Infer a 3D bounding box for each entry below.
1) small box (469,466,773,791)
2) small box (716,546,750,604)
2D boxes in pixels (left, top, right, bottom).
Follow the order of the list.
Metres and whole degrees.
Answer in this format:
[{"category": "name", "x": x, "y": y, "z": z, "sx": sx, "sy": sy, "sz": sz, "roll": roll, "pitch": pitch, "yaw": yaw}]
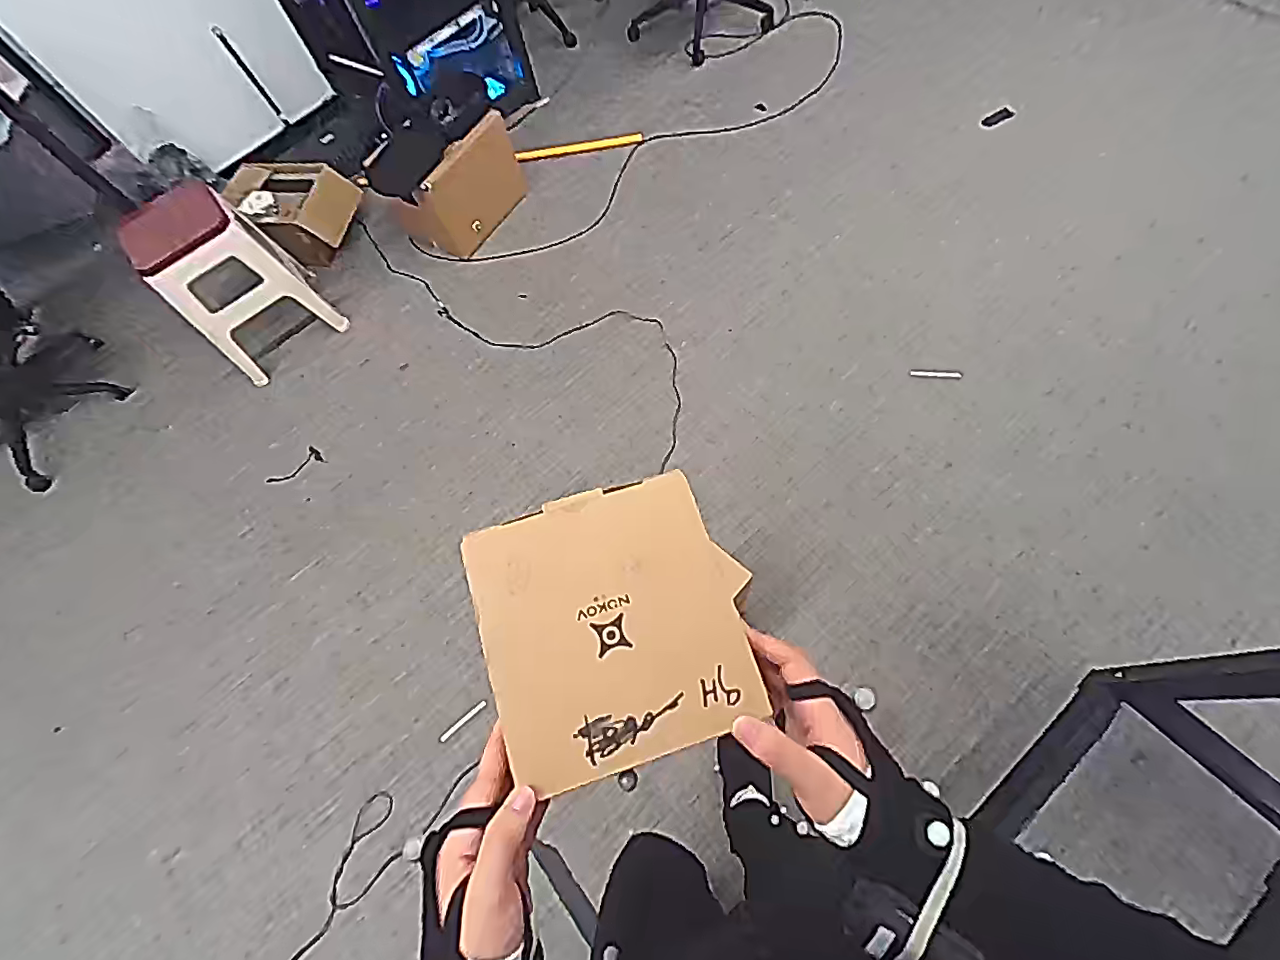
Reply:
[{"category": "small box", "x": -0.018, "y": 0.115, "z": 0.432, "sx": 0.168, "sy": 0.176, "sz": 0.179, "roll": -17, "pitch": 71, "yaw": -5}, {"category": "small box", "x": 0.120, "y": 0.238, "z": 1.175, "sx": 0.168, "sy": 0.176, "sz": 0.179, "roll": 39, "pitch": 76, "yaw": 20}]
